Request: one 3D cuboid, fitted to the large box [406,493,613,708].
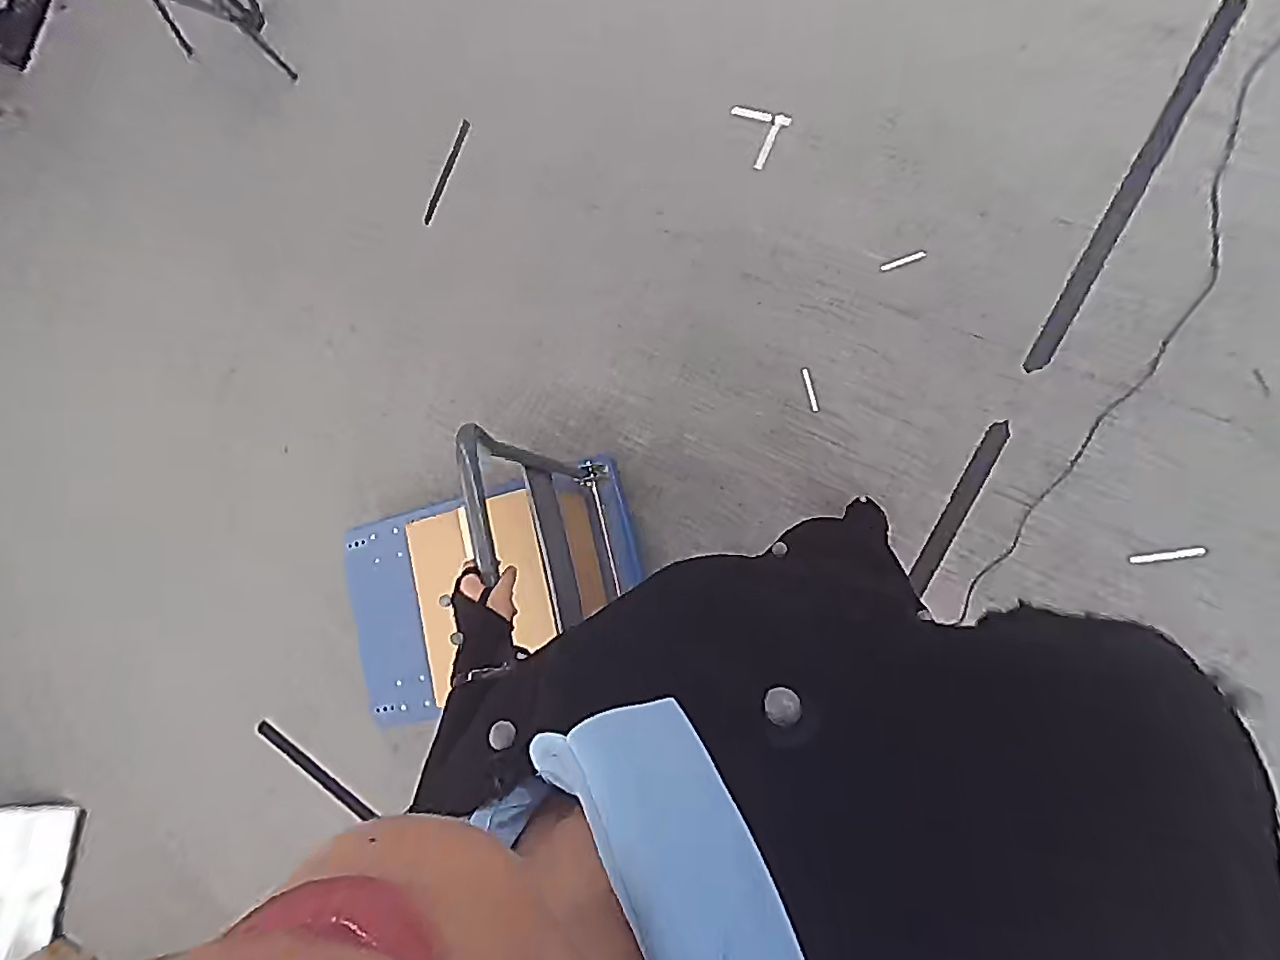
[{"bbox_3d":[-0.293,0.268,1.281,0.320,0.320,0.408,-16,81,14],"label":"large box"}]
